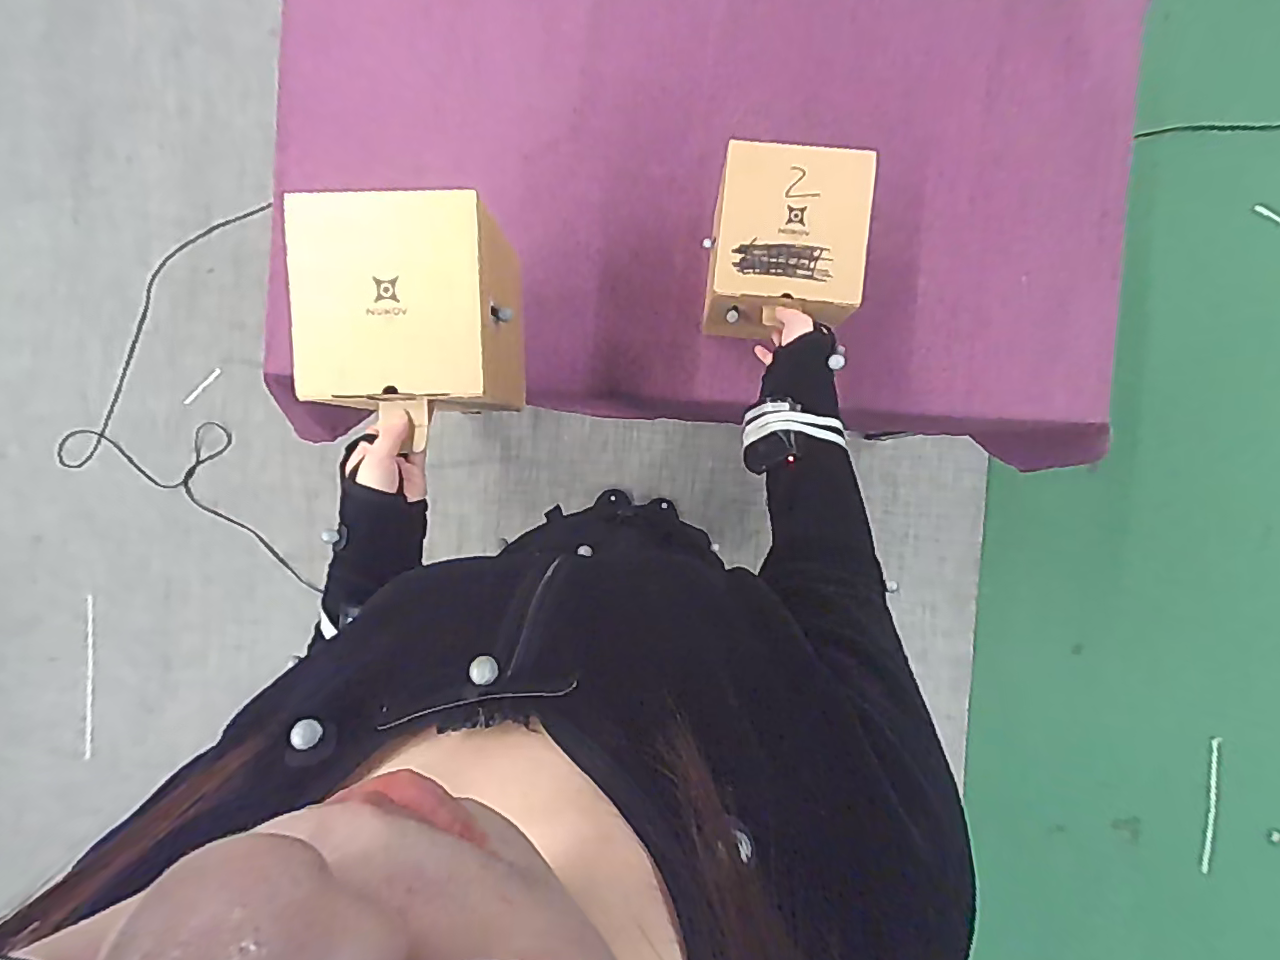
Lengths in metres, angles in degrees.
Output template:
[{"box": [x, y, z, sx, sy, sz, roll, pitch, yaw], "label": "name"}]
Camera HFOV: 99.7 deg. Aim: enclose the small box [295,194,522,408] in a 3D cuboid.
[{"box": [-0.221, -0.169, 0.560, 0.168, 0.176, 0.179, -1, 94, 0], "label": "small box"}]
